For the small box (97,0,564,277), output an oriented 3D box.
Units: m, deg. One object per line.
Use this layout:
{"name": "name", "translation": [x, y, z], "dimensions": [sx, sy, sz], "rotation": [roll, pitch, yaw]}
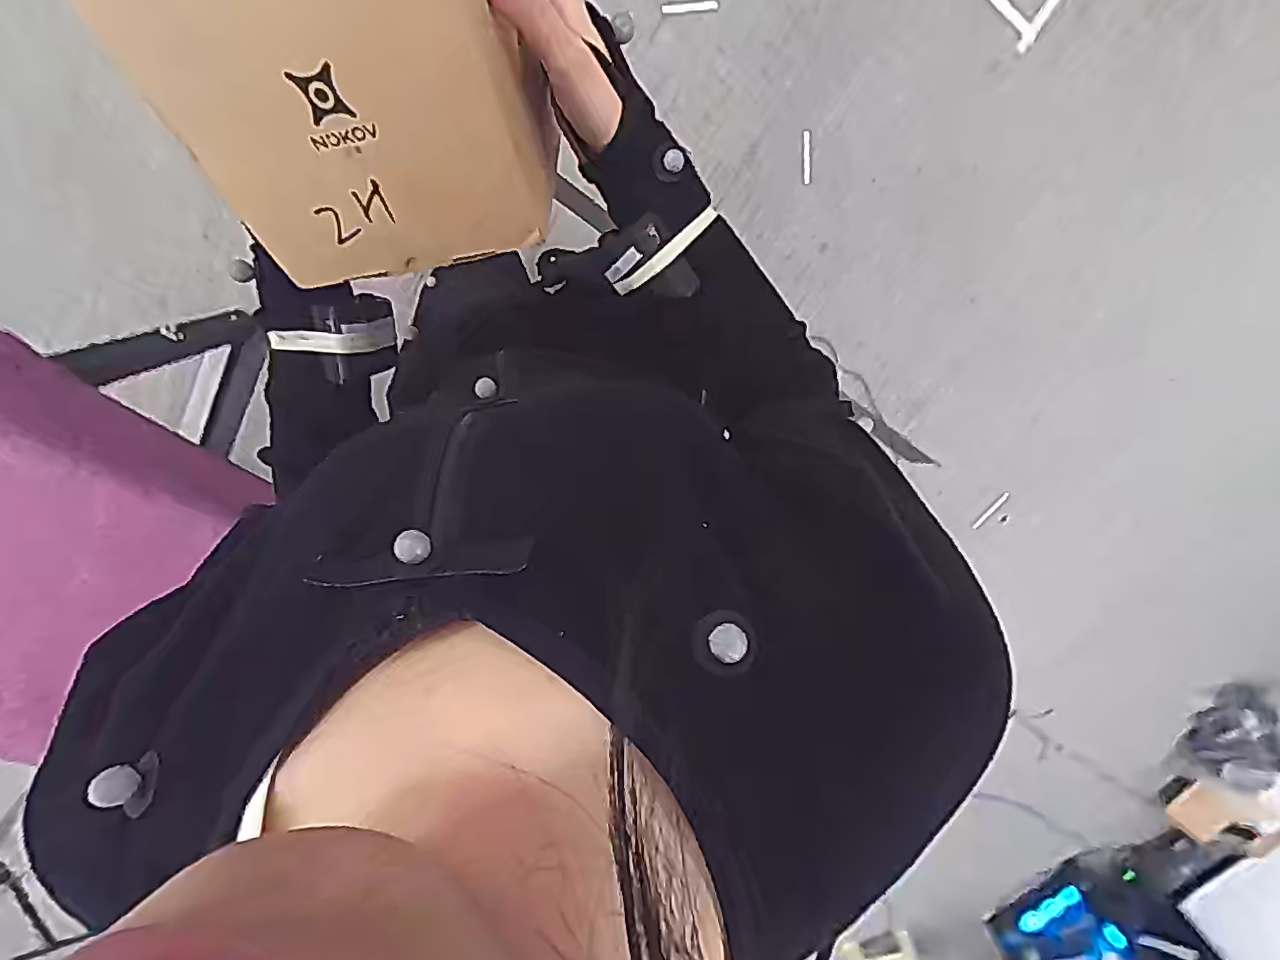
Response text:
{"name": "small box", "translation": [-0.147, -0.250, 0.311], "dimensions": [0.168, 0.176, 0.179], "rotation": [-5, 144, 7]}
